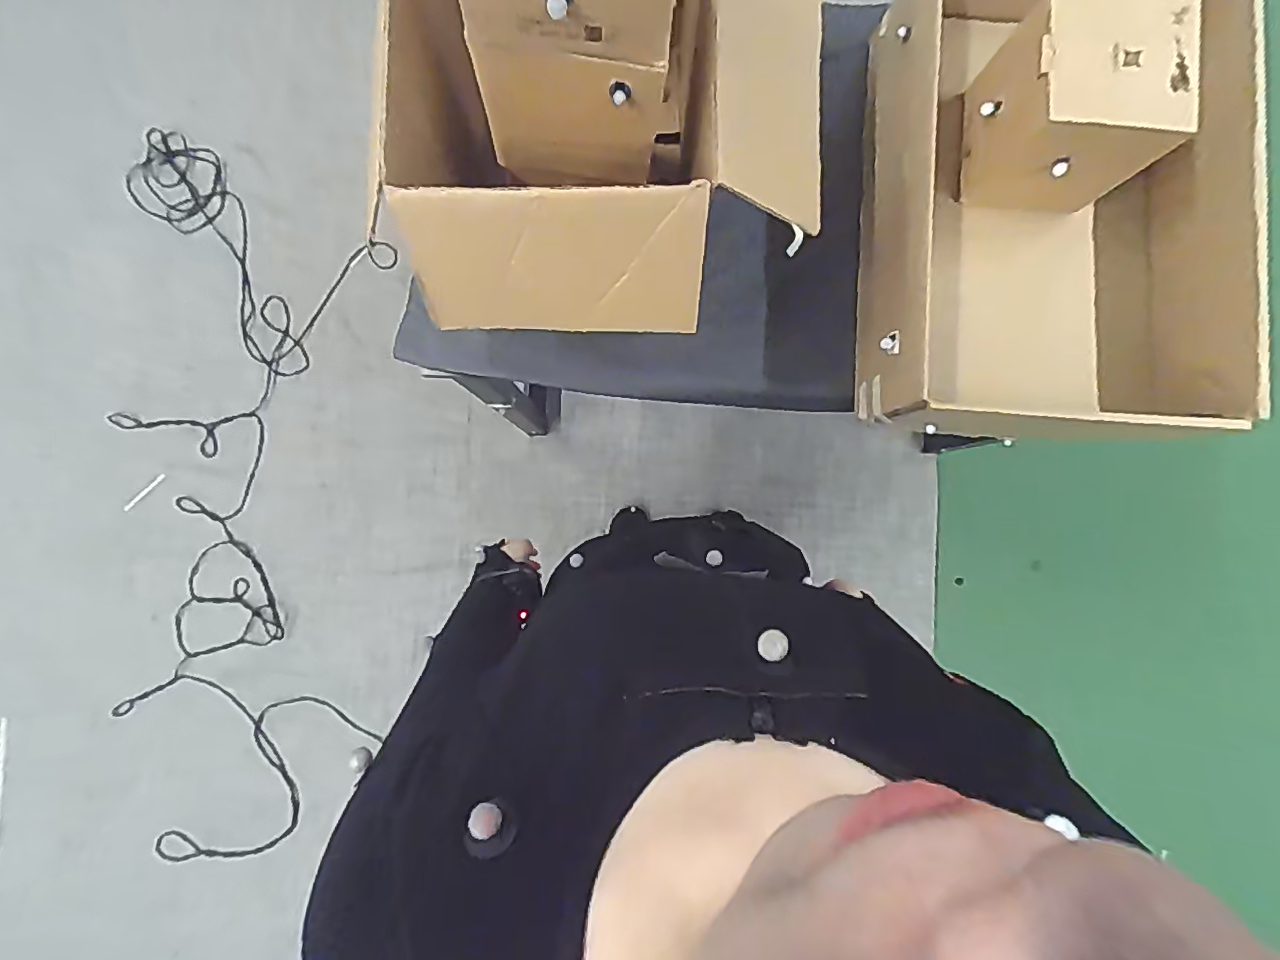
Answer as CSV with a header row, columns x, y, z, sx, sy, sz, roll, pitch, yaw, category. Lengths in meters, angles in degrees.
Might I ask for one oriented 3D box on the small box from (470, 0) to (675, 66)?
x,y,z,sx,sy,sz,roll,pitch,yaw,category
-0.049,-0.453,0.387,0.168,0.176,0.179,1,86,-6,small box
